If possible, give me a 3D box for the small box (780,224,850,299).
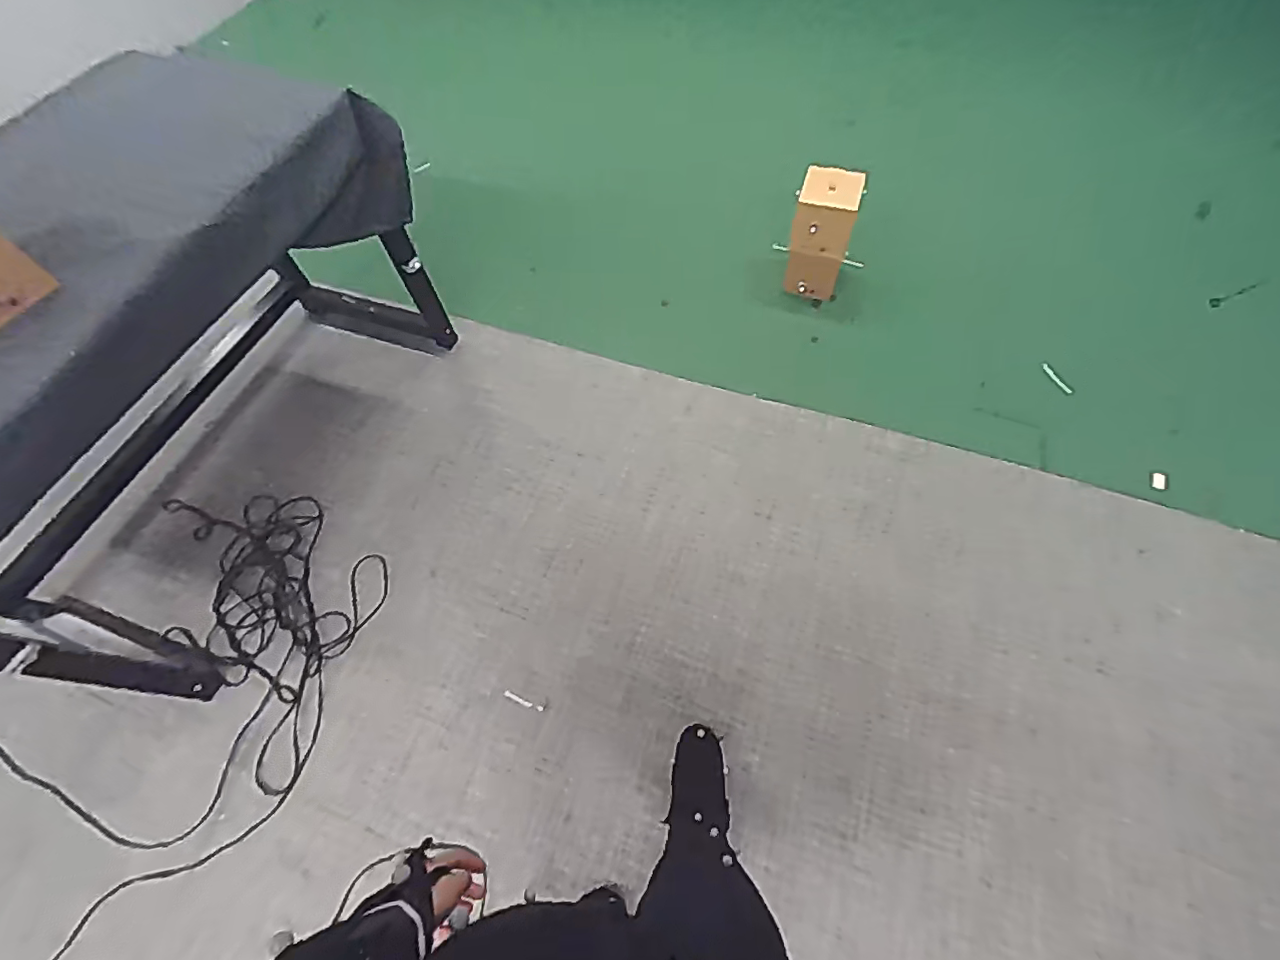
[{"bbox_3d":[0.560,-0.722,1.745,0.168,0.176,0.179,16,65,12],"label":"small box"}]

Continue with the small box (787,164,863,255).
[{"bbox_3d":[0.543,-0.797,1.602,0.168,0.176,0.179,15,63,11],"label":"small box"}]
